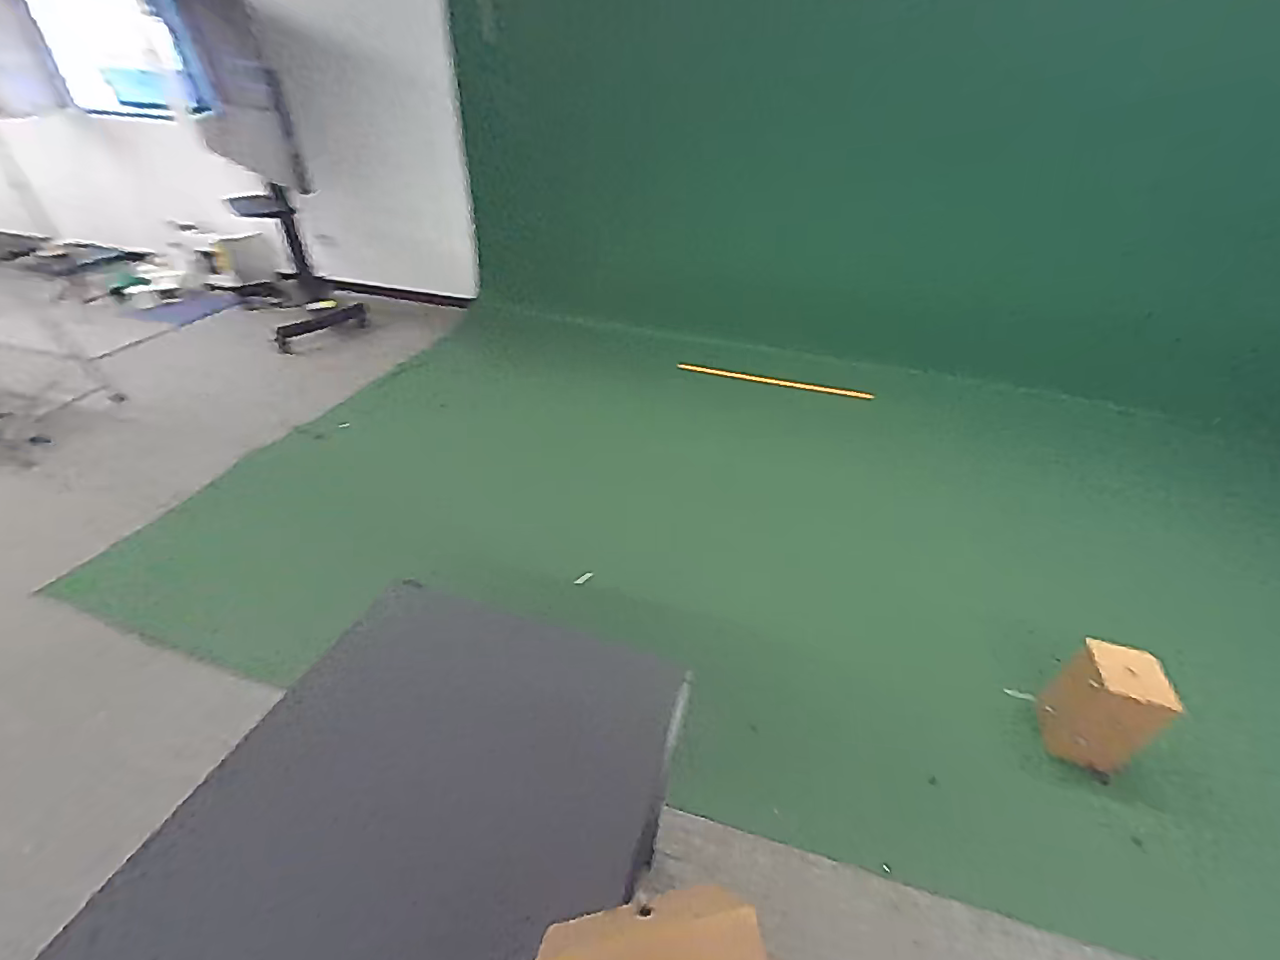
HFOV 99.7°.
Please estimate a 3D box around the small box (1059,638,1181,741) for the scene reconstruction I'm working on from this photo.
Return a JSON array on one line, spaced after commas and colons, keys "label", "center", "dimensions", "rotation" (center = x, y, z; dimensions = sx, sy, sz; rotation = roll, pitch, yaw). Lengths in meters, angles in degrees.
[{"label": "small box", "center": [1.293, 0.570, 1.476], "dimensions": [0.168, 0.176, 0.179], "rotation": [12, 37, 12]}]
